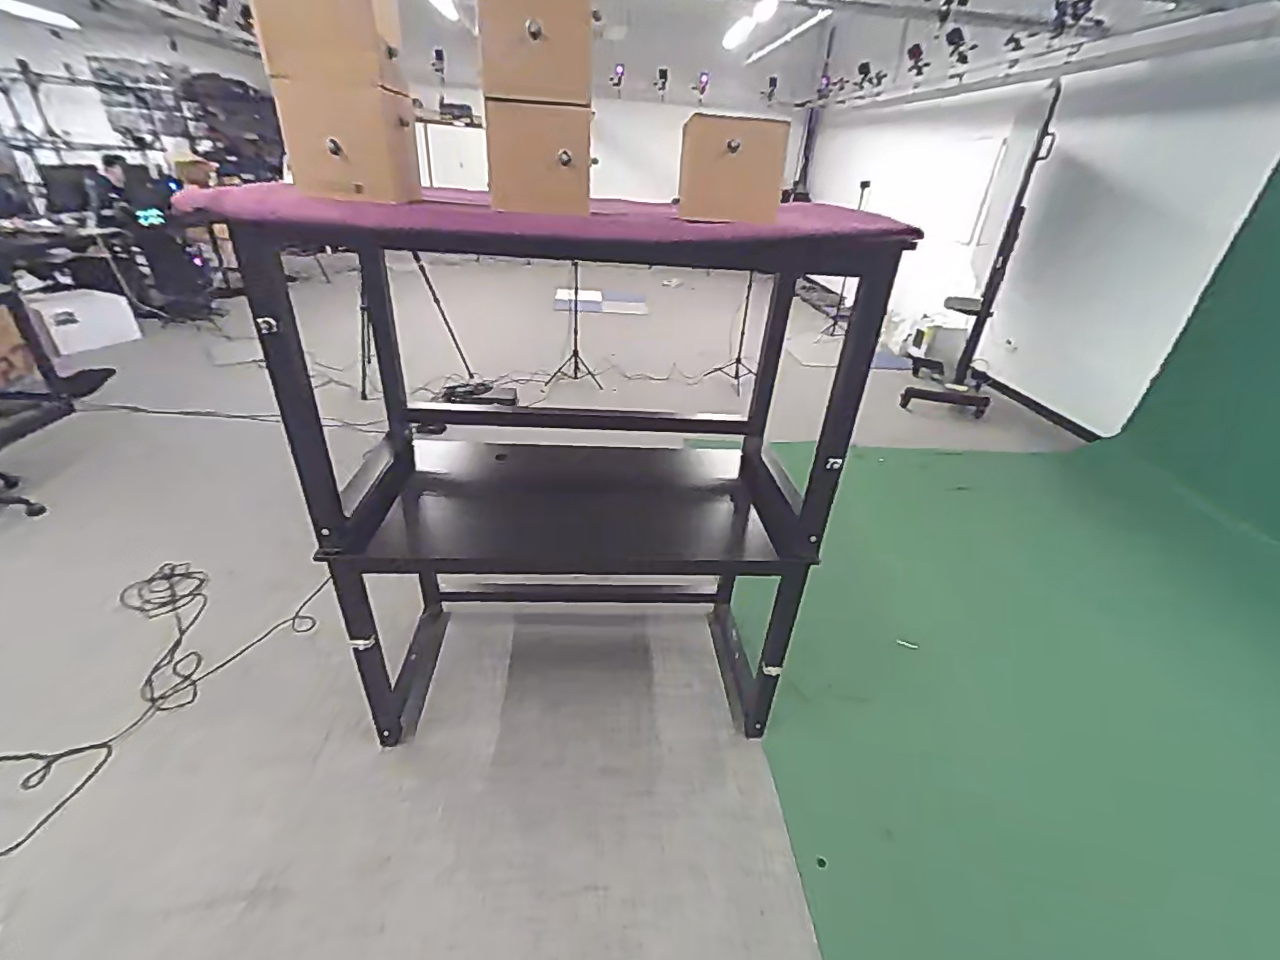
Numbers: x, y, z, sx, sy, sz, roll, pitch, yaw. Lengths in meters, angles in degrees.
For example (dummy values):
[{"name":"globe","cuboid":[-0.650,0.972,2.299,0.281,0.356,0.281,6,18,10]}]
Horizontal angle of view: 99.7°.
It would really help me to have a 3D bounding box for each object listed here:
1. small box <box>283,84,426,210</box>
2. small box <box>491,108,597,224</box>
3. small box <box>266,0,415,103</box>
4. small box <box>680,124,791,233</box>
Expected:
[{"name":"small box","cuboid":[-0.489,-0.583,0.960,0.168,0.176,0.179,2,30,-7]},{"name":"small box","cuboid":[-0.171,-0.574,1.001,0.179,0.176,0.168,0,29,-6]},{"name":"small box","cuboid":[-0.482,-0.722,0.877,0.179,0.176,0.168,1,31,-9]},{"name":"small box","cuboid":[0.174,-0.578,1.053,0.179,0.176,0.168,2,27,-4]}]
